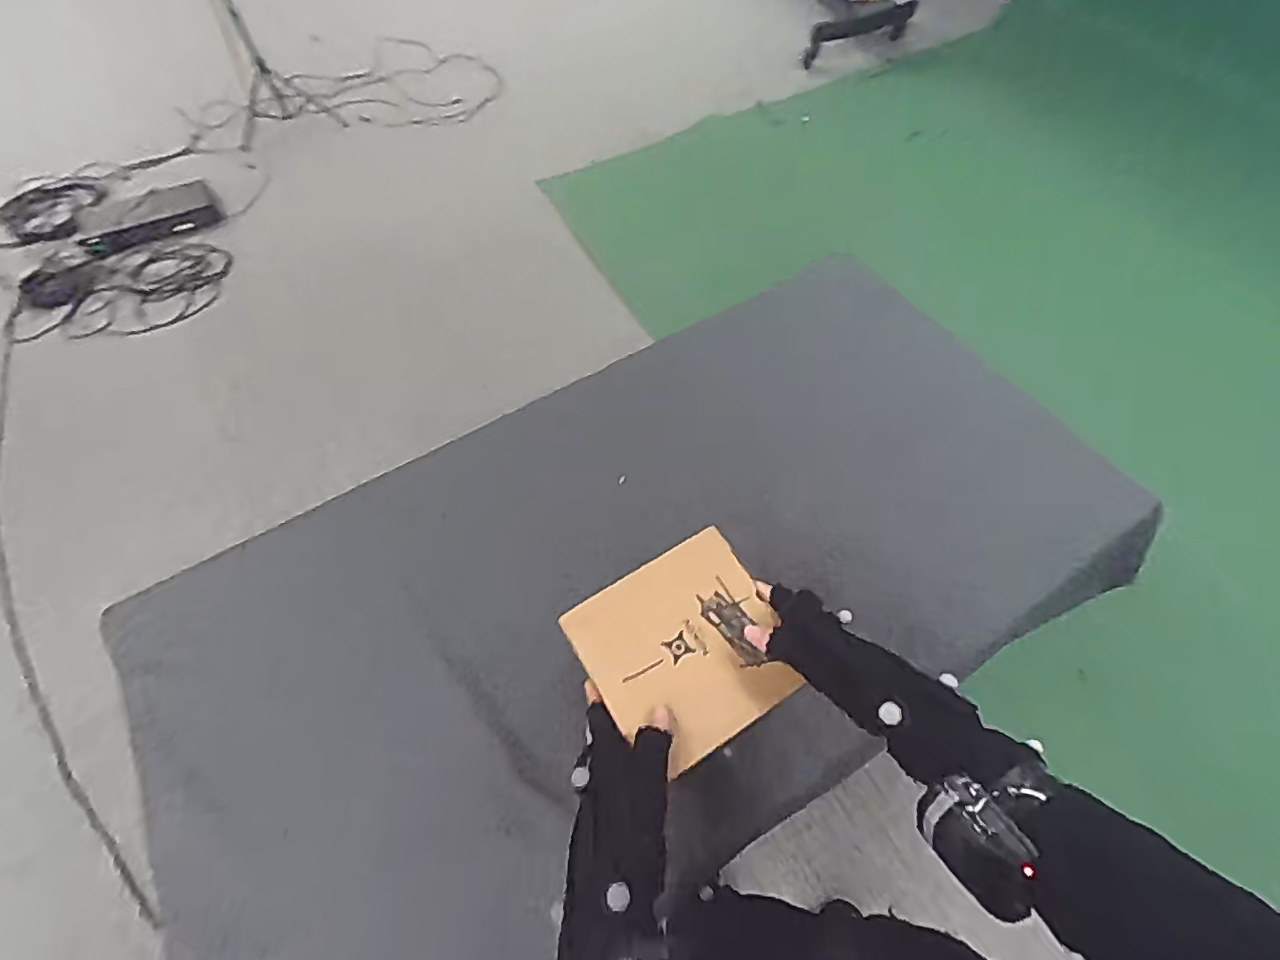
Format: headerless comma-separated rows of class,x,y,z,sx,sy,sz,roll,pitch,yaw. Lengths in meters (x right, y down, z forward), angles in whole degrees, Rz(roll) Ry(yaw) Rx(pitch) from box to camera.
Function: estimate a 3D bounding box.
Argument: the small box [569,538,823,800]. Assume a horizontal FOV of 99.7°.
small box,0.046,0.194,0.554,0.179,0.176,0.168,-30,65,-17
